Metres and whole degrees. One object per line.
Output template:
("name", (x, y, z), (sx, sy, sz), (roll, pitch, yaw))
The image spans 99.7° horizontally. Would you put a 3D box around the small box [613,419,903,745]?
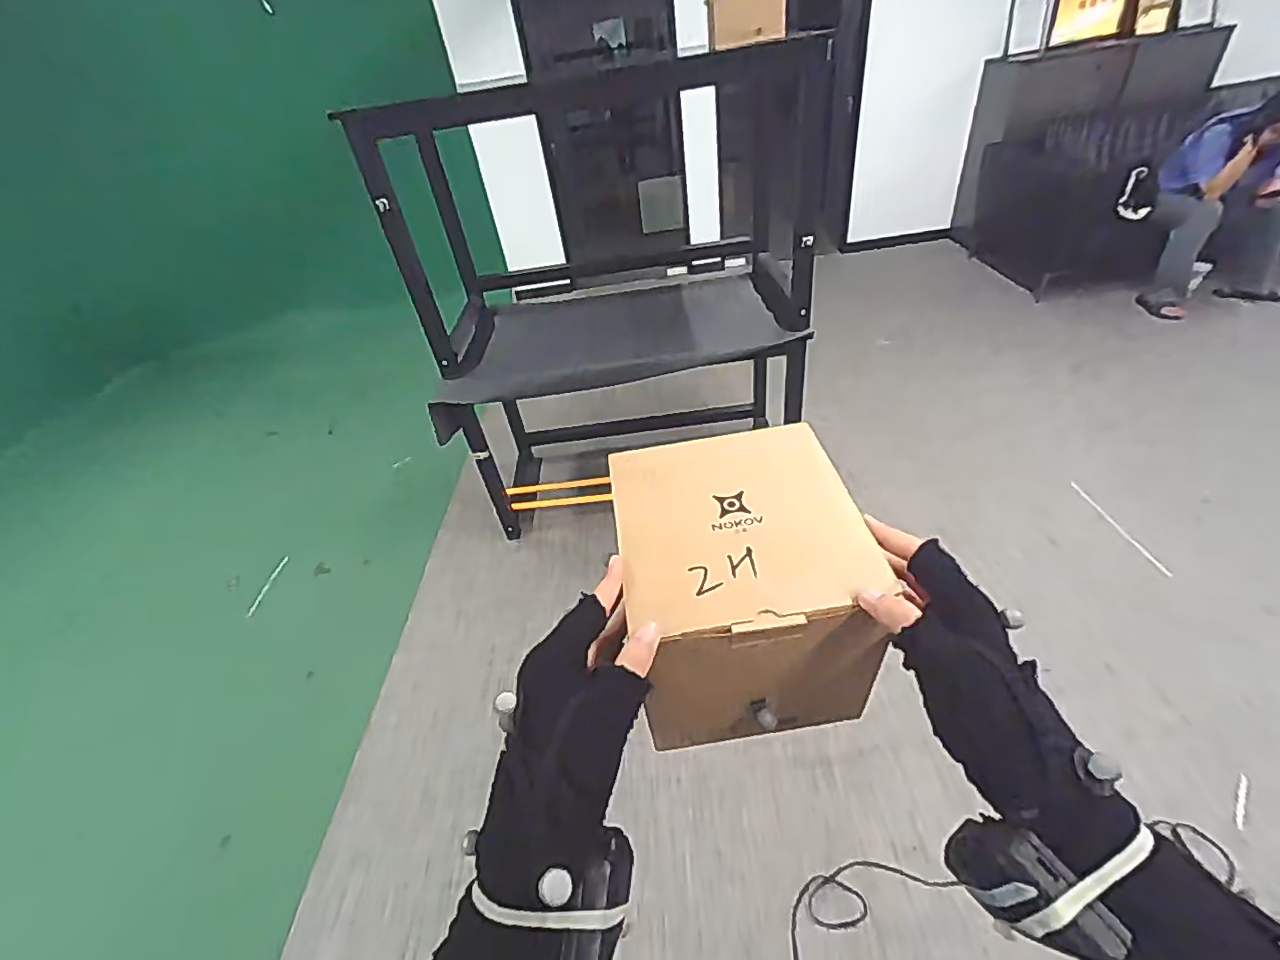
("small box", (0.074, 0.078, 0.427), (0.168, 0.176, 0.179), (-10, 42, 1))
